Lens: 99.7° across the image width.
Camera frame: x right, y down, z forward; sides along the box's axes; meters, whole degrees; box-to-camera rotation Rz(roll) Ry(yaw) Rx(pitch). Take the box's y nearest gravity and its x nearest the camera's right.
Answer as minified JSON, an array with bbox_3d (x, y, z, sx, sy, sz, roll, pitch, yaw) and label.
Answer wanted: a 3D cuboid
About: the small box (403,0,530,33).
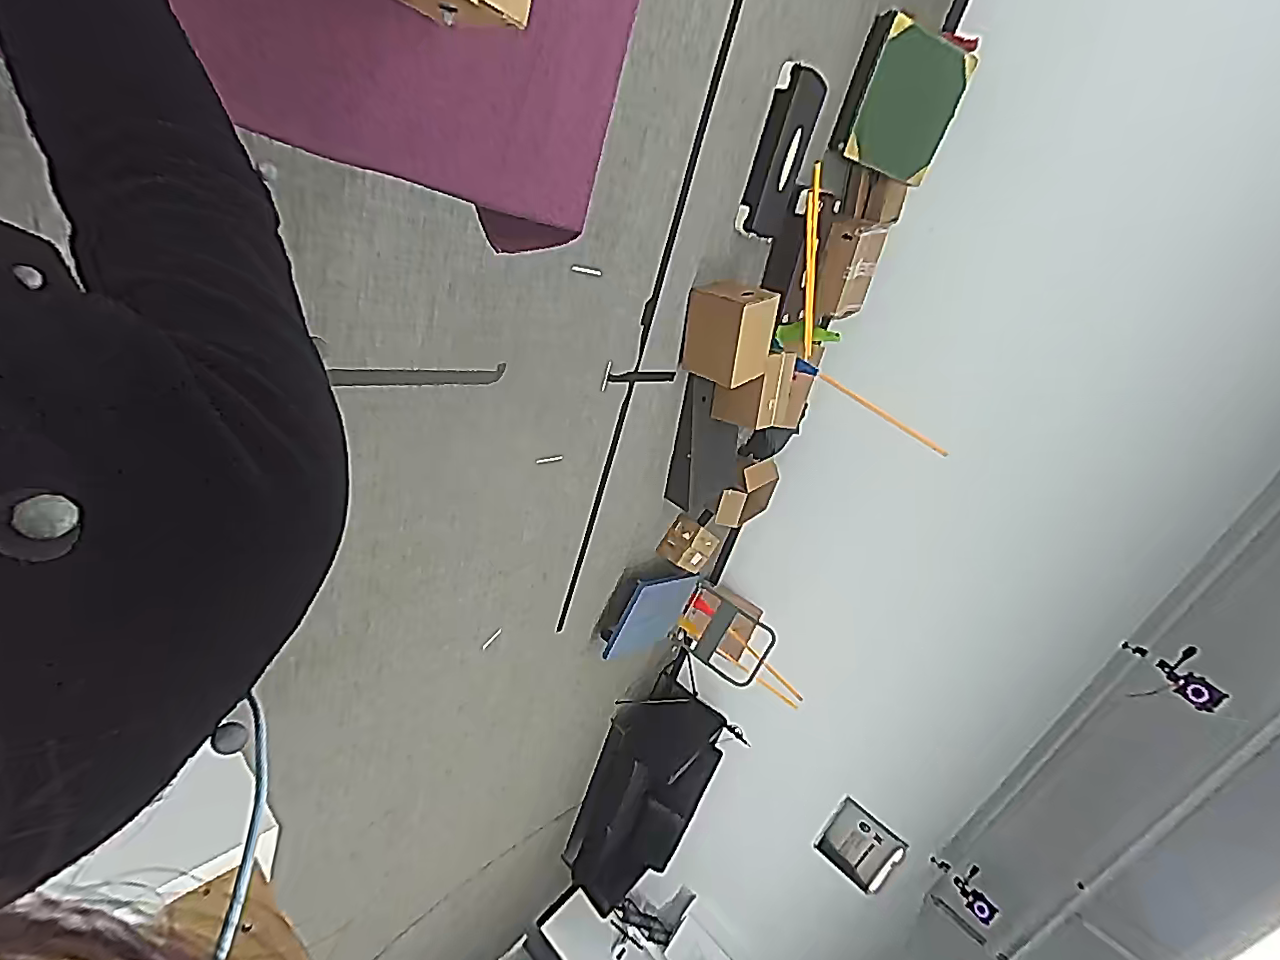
[{"bbox_3d":[-0.208,-0.574,0.517,0.168,0.176,0.179,-15,130,-51],"label":"small box"}]

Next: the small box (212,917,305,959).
[{"bbox_3d":[-0.831,1.104,1.157,0.179,0.176,0.168,-7,123,-53],"label":"small box"}]

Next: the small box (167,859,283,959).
[{"bbox_3d":[-0.954,1.029,1.239,0.168,0.176,0.179,-6,125,-54],"label":"small box"}]
